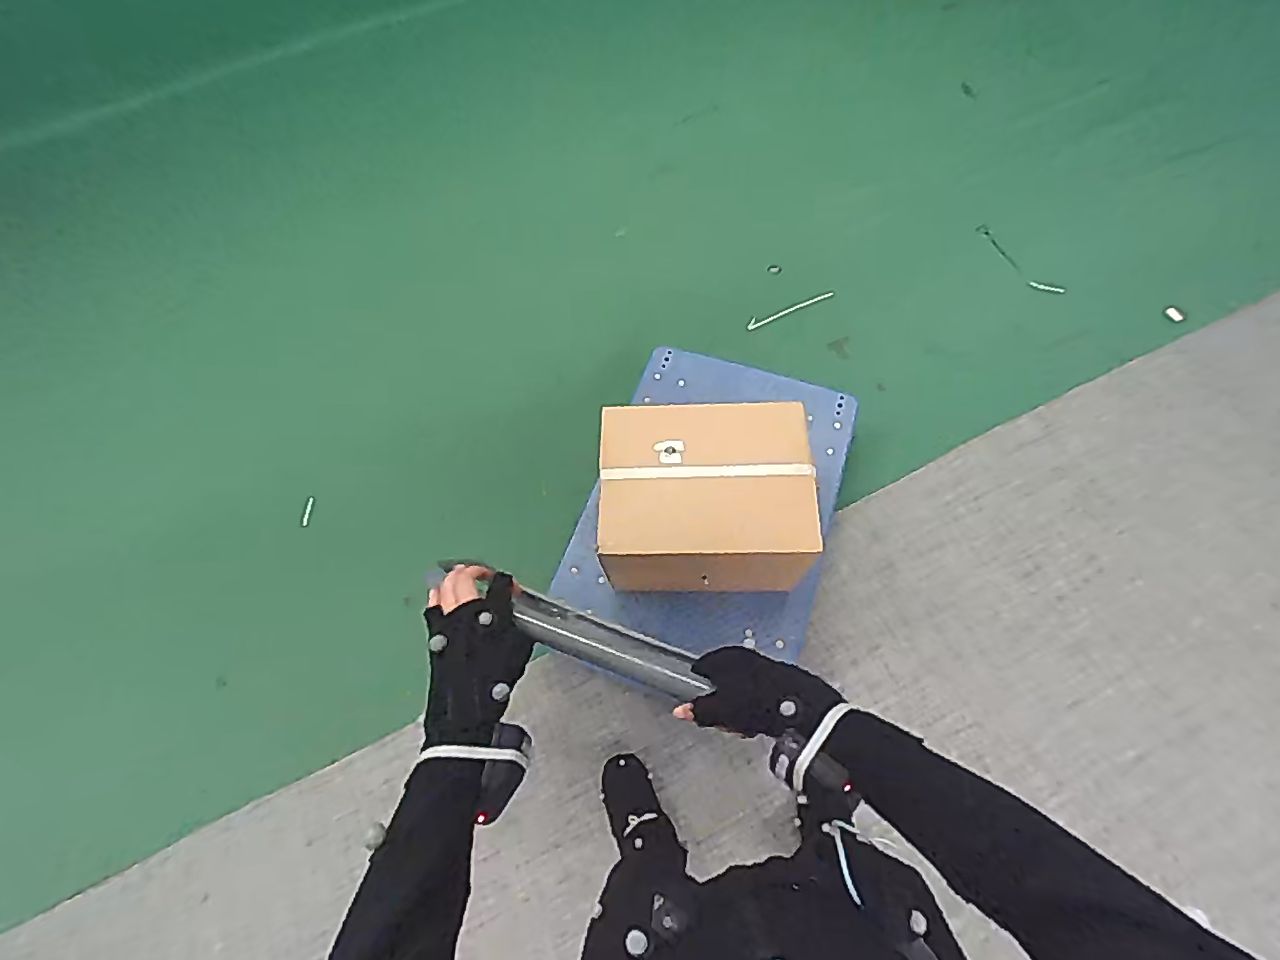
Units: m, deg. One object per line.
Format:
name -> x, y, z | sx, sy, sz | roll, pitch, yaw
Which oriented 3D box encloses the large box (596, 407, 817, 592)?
large box -> 0.132, 0.059, 1.164 | 0.408, 0.320, 0.320 | -1, 65, 5
